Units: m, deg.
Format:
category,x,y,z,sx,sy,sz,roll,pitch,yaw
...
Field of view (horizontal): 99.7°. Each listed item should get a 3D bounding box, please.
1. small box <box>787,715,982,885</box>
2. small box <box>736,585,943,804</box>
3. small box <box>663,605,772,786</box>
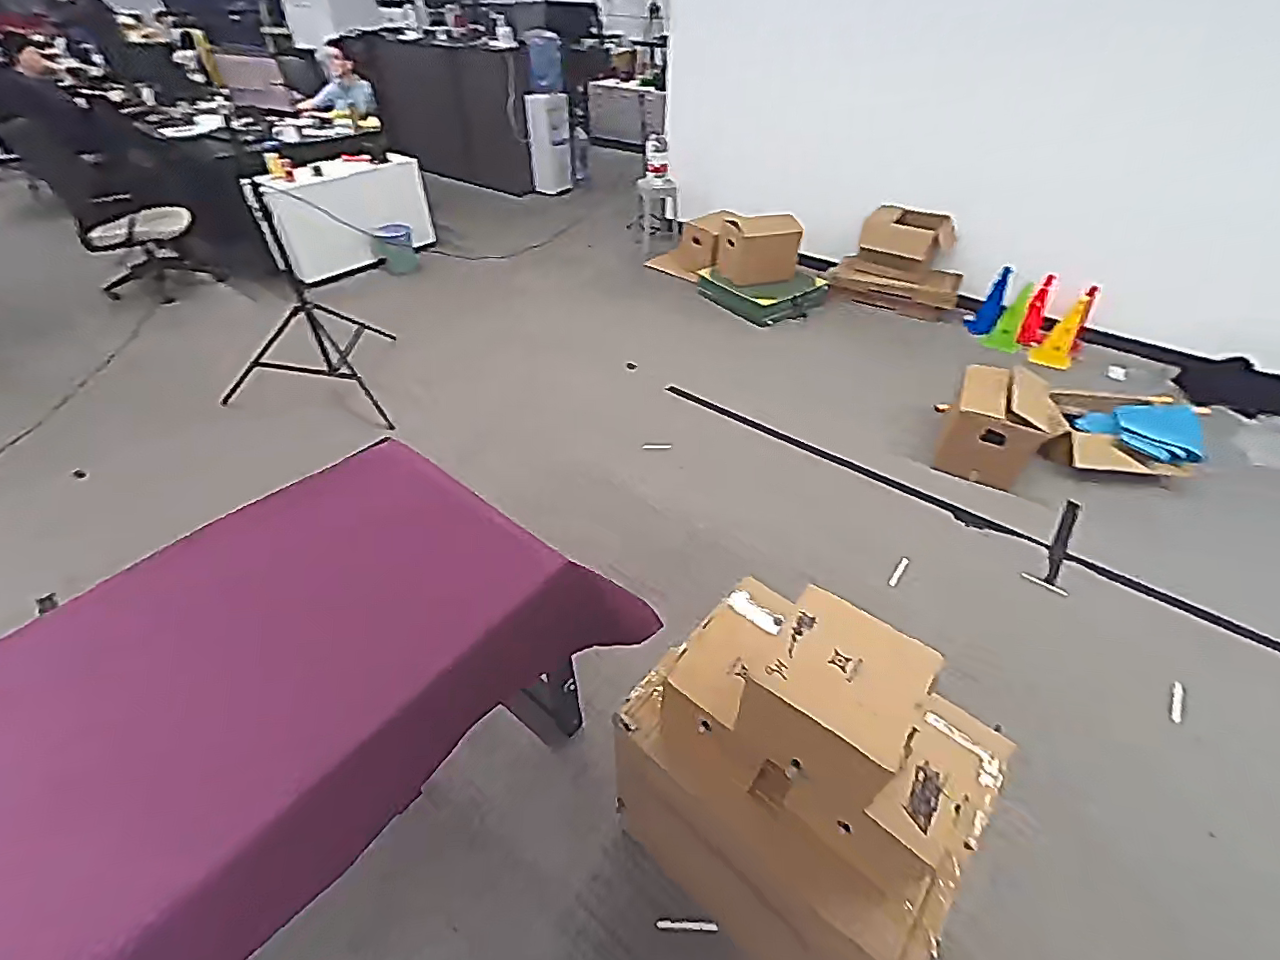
category,x,y,z,sx,sy,sz,roll,pitch,yaw
small box,0.332,0.425,0.761,0.179,0.176,0.168,30,51,32
small box,0.241,0.274,0.686,0.179,0.176,0.168,28,50,28
small box,0.149,0.341,0.854,0.179,0.176,0.168,30,52,27
